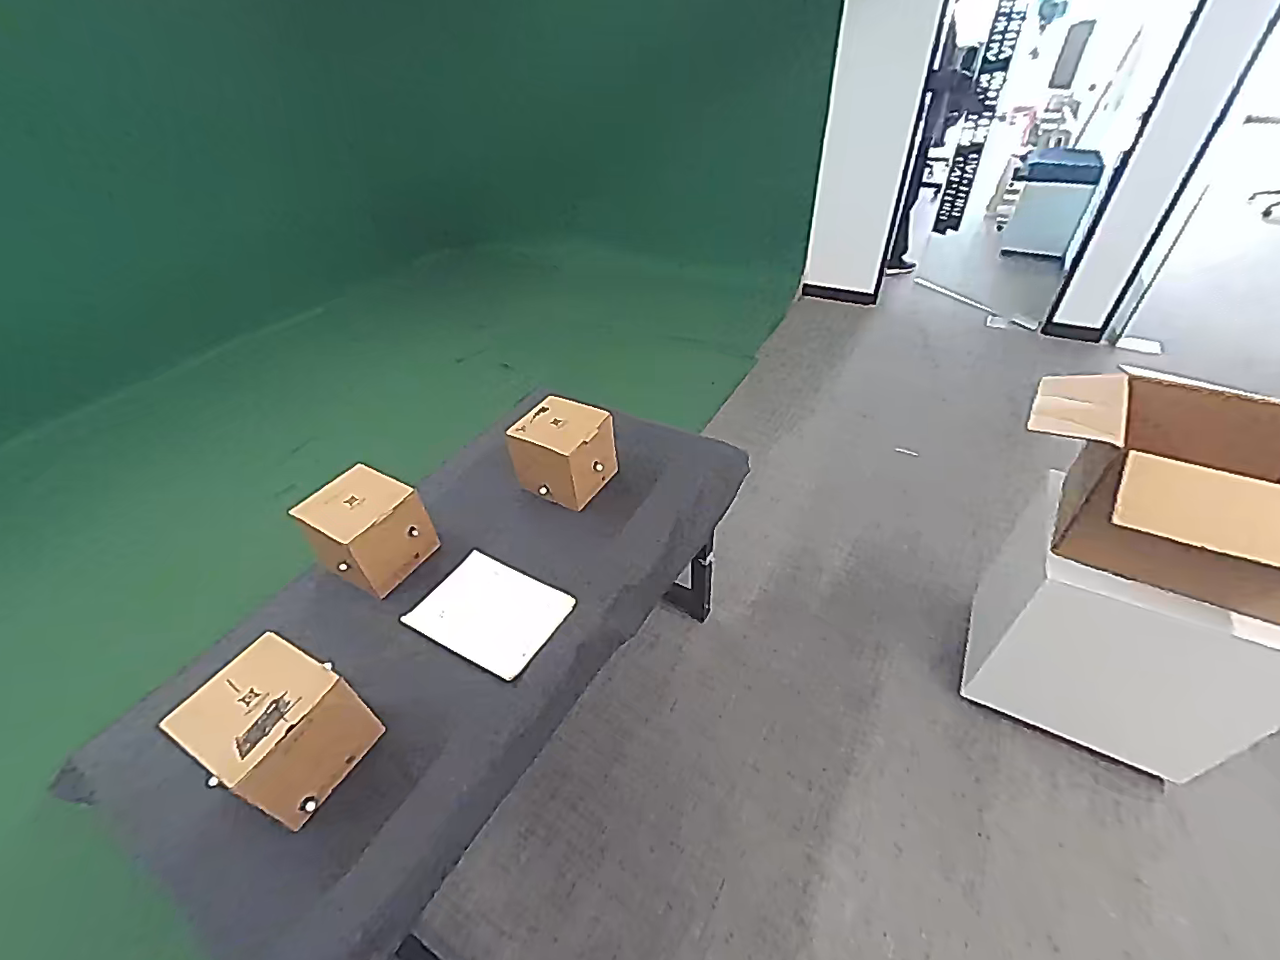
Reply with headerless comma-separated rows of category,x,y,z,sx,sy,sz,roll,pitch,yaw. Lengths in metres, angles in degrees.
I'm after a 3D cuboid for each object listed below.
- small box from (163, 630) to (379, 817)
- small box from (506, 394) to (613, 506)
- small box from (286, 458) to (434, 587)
small box,-0.527,0.362,0.800,0.179,0.176,0.168,18,46,23
small box,-0.175,-0.065,1.240,0.179,0.176,0.168,21,48,23
small box,-0.546,0.088,1.080,0.179,0.176,0.168,19,46,24
